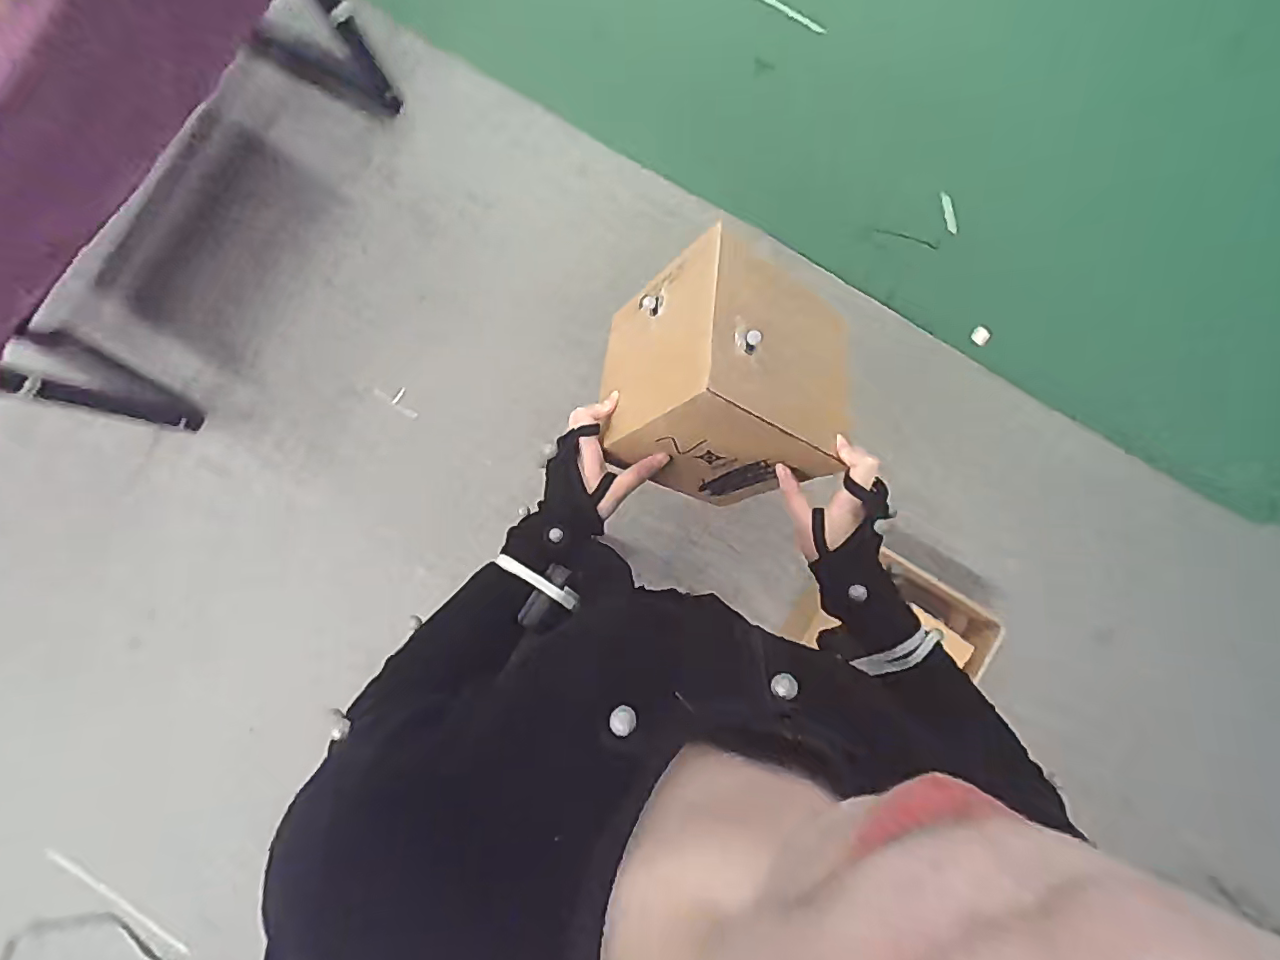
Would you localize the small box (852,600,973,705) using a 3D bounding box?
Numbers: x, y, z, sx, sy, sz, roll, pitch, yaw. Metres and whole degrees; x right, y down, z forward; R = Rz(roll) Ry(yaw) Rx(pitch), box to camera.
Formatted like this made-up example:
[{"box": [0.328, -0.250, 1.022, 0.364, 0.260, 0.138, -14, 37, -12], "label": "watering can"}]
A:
[{"box": [0.663, 0.415, 1.340, 0.179, 0.176, 0.168, 37, 88, 4], "label": "small box"}]
